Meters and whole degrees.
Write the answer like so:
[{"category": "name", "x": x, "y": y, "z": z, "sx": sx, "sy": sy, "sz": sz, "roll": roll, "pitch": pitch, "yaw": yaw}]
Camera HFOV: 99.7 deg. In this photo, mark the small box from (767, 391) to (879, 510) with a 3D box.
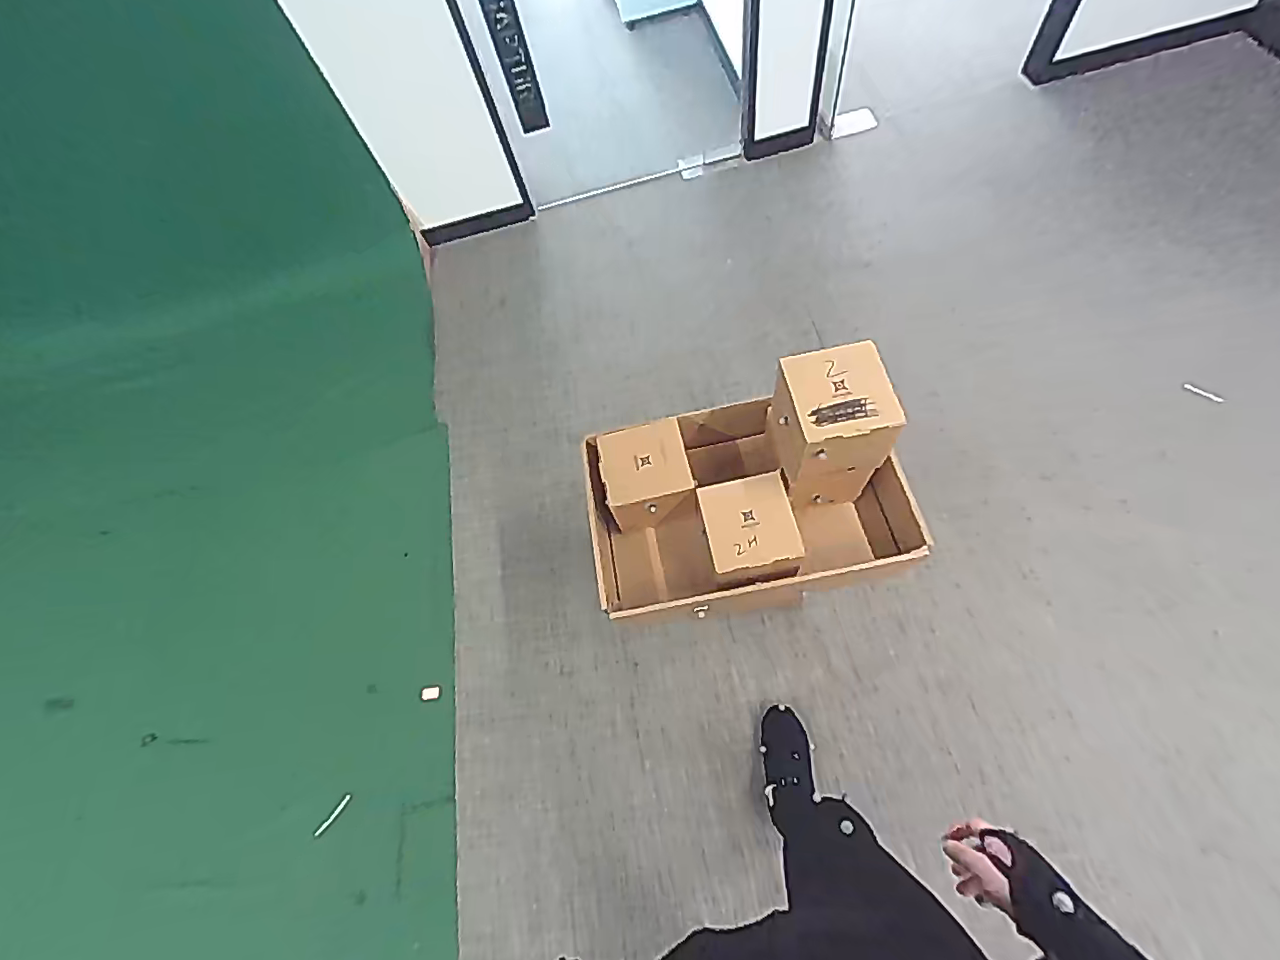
[{"category": "small box", "x": 0.370, "y": -0.056, "z": 1.130, "sx": 0.168, "sy": 0.176, "sz": 0.179, "roll": -11, "pitch": 65, "yaw": 4}]
